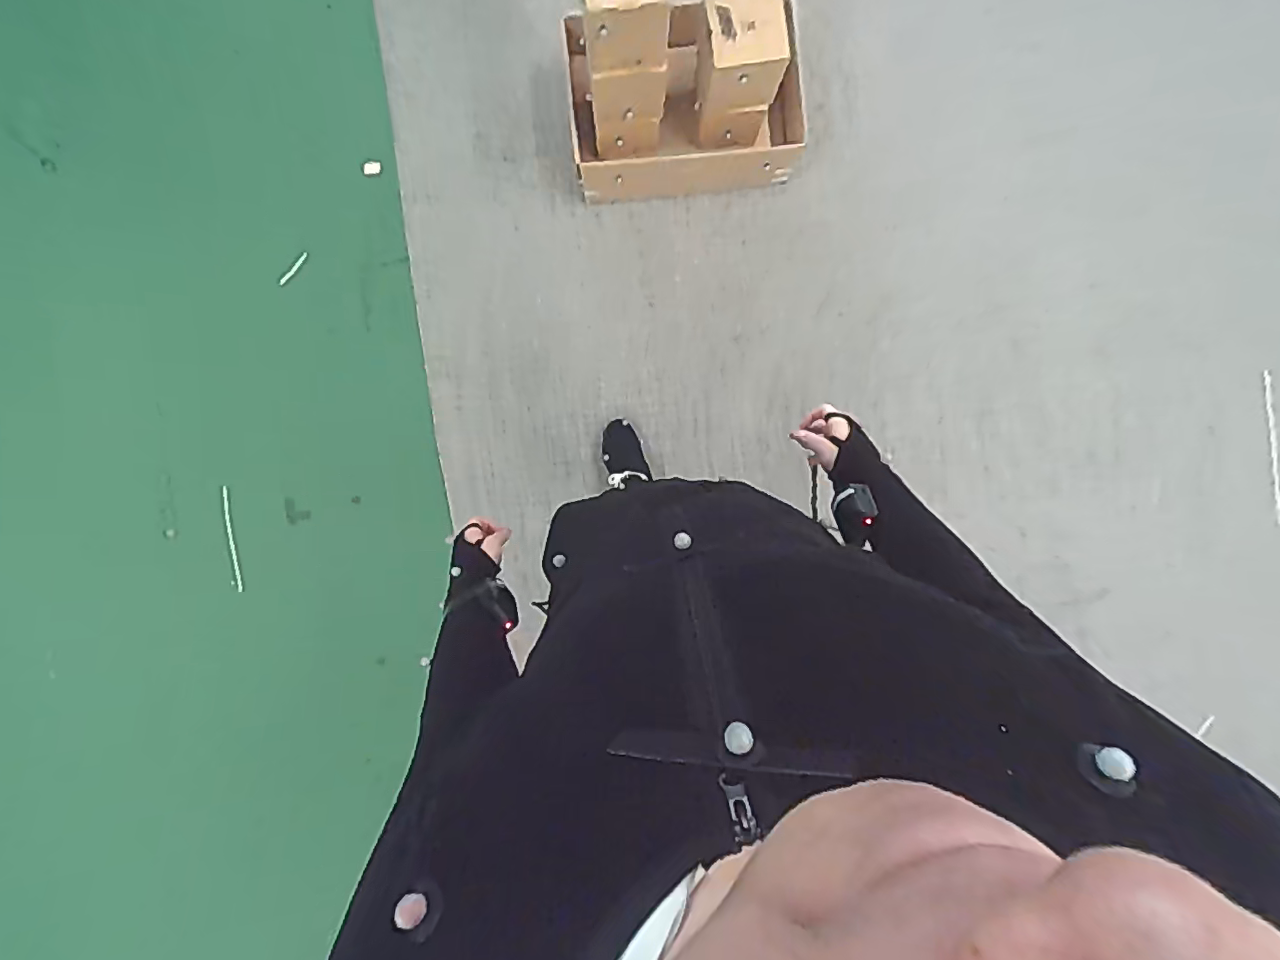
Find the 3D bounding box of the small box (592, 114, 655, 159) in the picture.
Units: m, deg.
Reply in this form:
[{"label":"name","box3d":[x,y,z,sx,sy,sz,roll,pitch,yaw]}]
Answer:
[{"label":"small box","box3d":[-0.049,-0.990,1.448,0.168,0.176,0.179,-6,91,-2]}]

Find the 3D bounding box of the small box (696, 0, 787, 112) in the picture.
[{"label":"small box","box3d":[0.233,-1.014,1.288,0.179,0.176,0.168,-9,93,-1]}]

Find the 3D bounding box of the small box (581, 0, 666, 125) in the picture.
[{"label":"small box","box3d":[-0.042,-0.983,1.285,0.179,0.176,0.168,-7,91,-2]}]

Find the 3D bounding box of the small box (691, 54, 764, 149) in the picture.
[{"label":"small box","box3d":[0.231,-1.021,1.454,0.168,0.176,0.179,-5,92,0]}]
